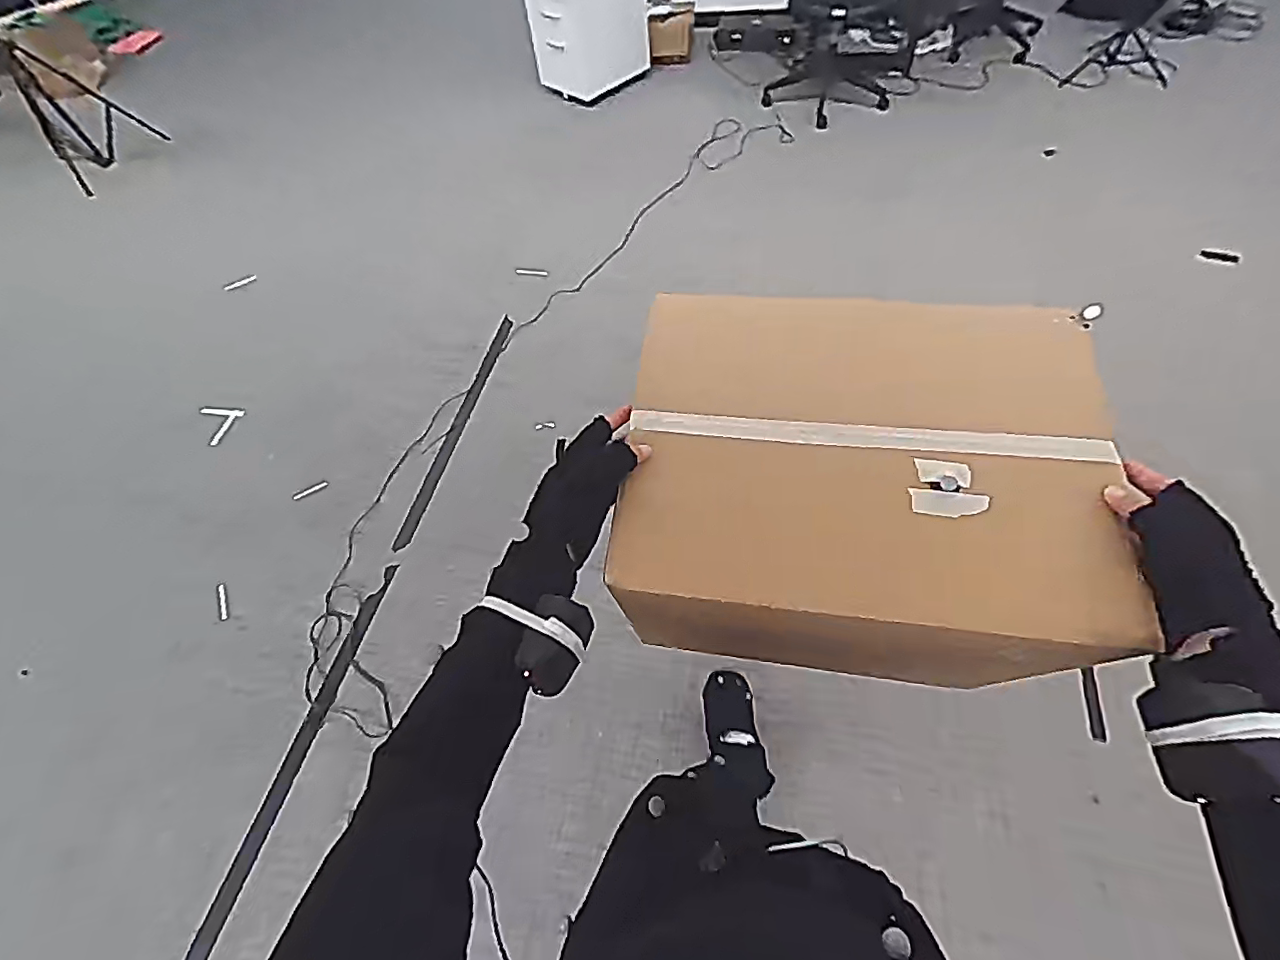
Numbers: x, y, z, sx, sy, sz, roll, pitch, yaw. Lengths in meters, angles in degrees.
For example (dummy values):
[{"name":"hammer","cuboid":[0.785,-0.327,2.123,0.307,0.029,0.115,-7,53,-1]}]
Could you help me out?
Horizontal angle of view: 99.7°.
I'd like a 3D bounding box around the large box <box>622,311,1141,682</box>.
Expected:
[{"name":"large box","cuboid":[0.210,0.035,0.623,0.408,0.320,0.320,5,67,8]}]
